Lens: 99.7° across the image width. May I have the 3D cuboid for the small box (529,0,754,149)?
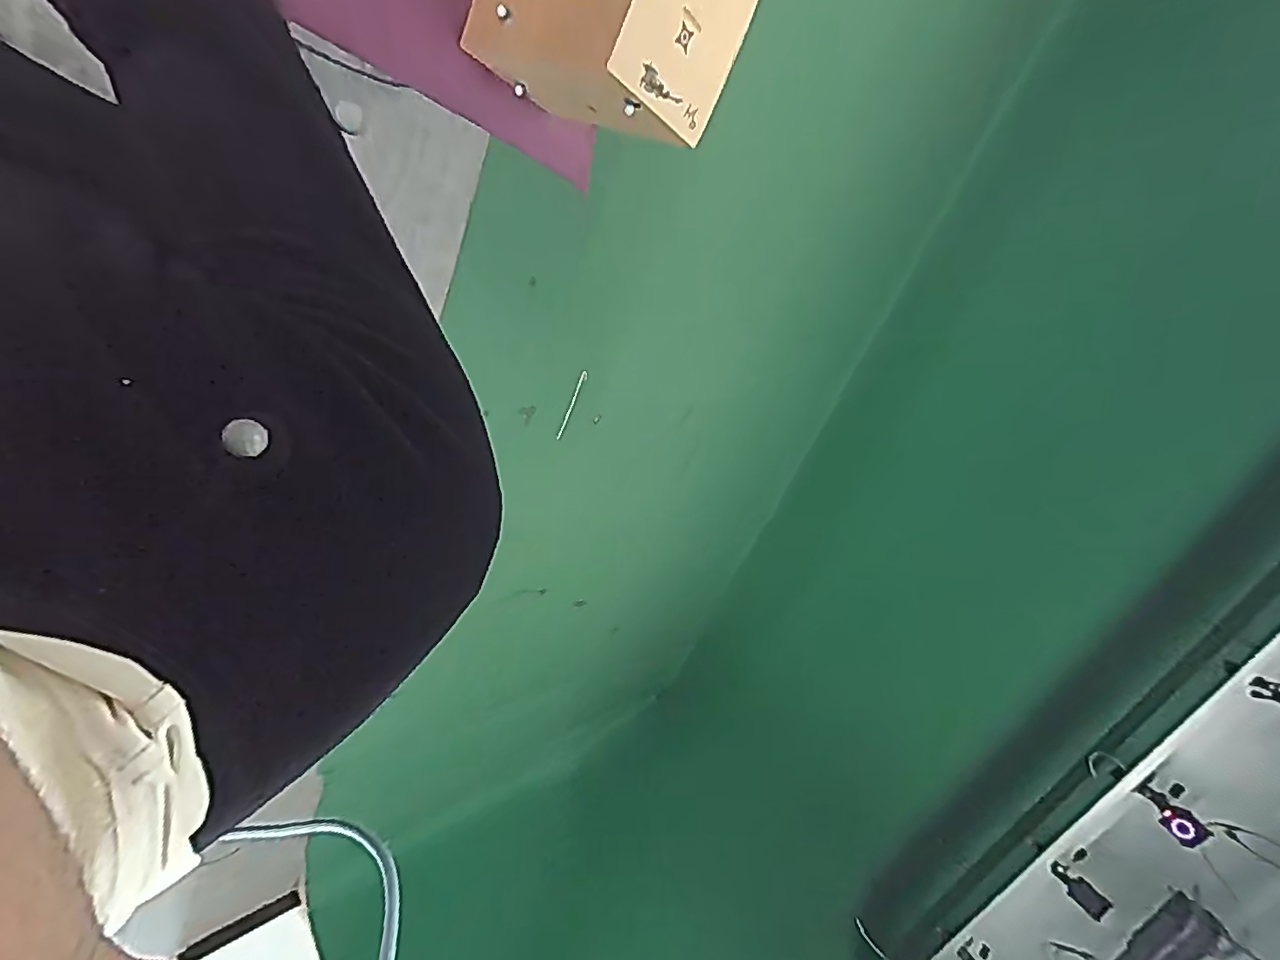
[{"bbox_3d":[-0.004,-0.531,0.635,0.168,0.176,0.179,4,116,-50],"label":"small box"}]
